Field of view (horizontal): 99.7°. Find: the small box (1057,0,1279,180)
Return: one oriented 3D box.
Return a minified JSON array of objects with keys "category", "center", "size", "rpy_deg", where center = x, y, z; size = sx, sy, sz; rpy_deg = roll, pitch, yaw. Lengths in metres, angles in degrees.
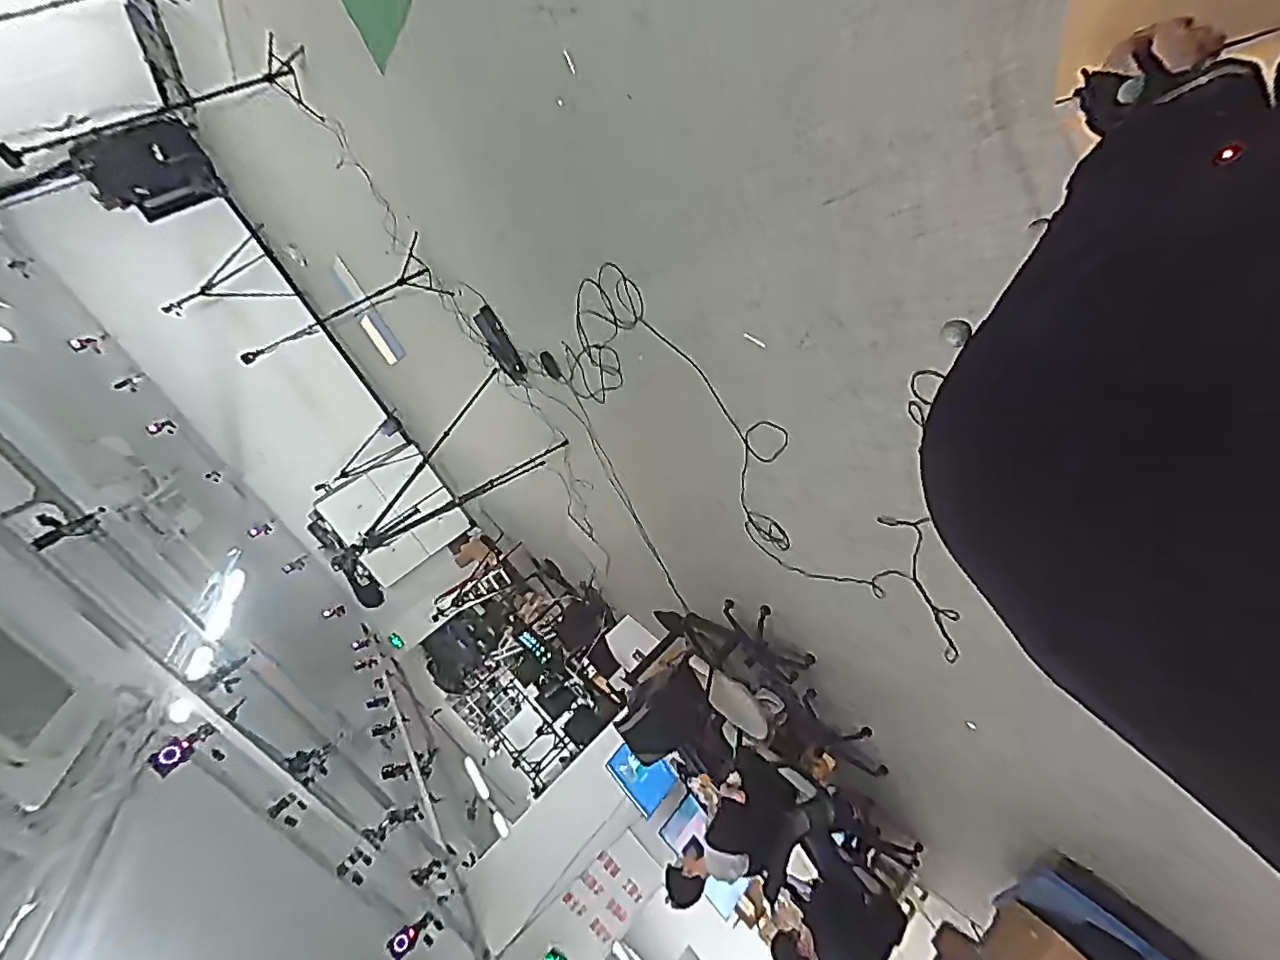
[{"category":"small box","center":[0.531,-0.432,0.522],"size":[0.168,0.179,0.176],"rpy_deg":[10,96,48]}]
